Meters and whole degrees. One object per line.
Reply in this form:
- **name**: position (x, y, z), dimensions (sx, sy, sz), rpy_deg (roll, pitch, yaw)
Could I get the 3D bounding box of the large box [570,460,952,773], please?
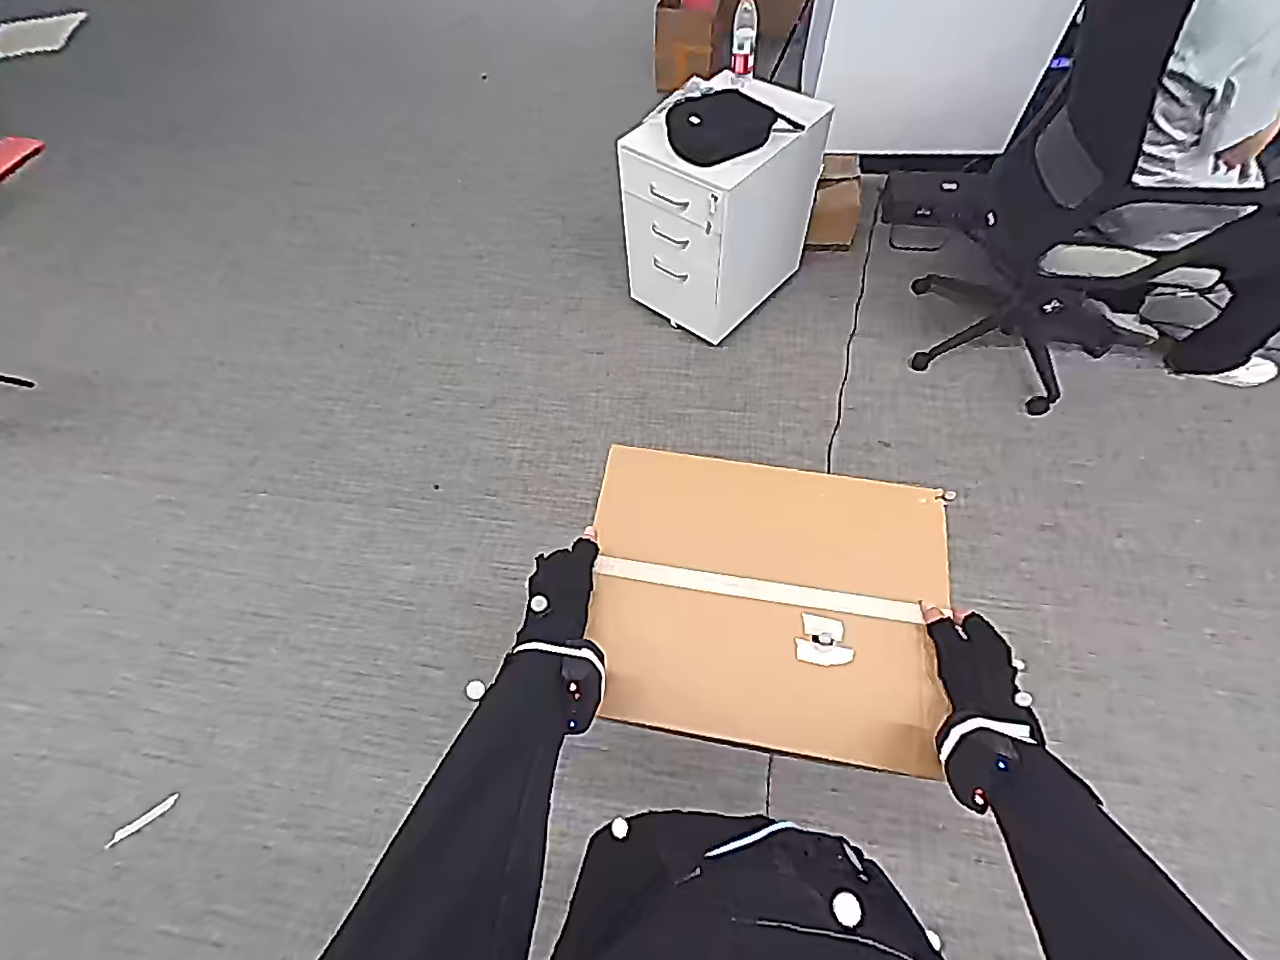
- **large box**: position (0.143, 0.197, 0.755), dimensions (0.408, 0.320, 0.320), rpy_deg (8, 66, 5)
